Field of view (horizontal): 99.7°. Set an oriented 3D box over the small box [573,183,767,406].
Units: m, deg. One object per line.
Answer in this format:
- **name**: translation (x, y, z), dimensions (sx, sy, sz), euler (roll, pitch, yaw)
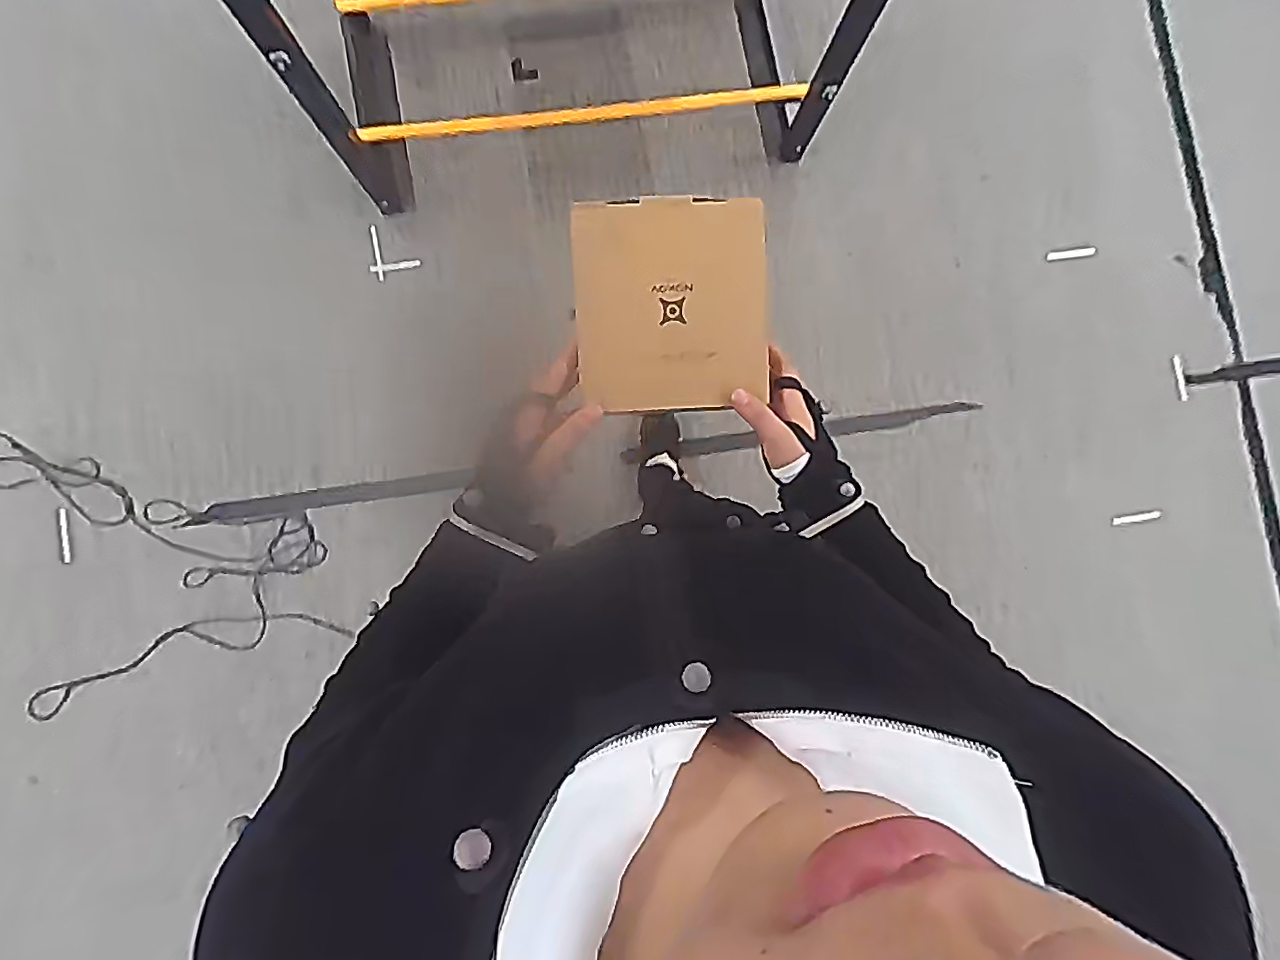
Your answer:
- **small box**: translation (0.020, -0.169, 0.540), dimensions (0.168, 0.176, 0.179), euler (-4, 96, -4)
